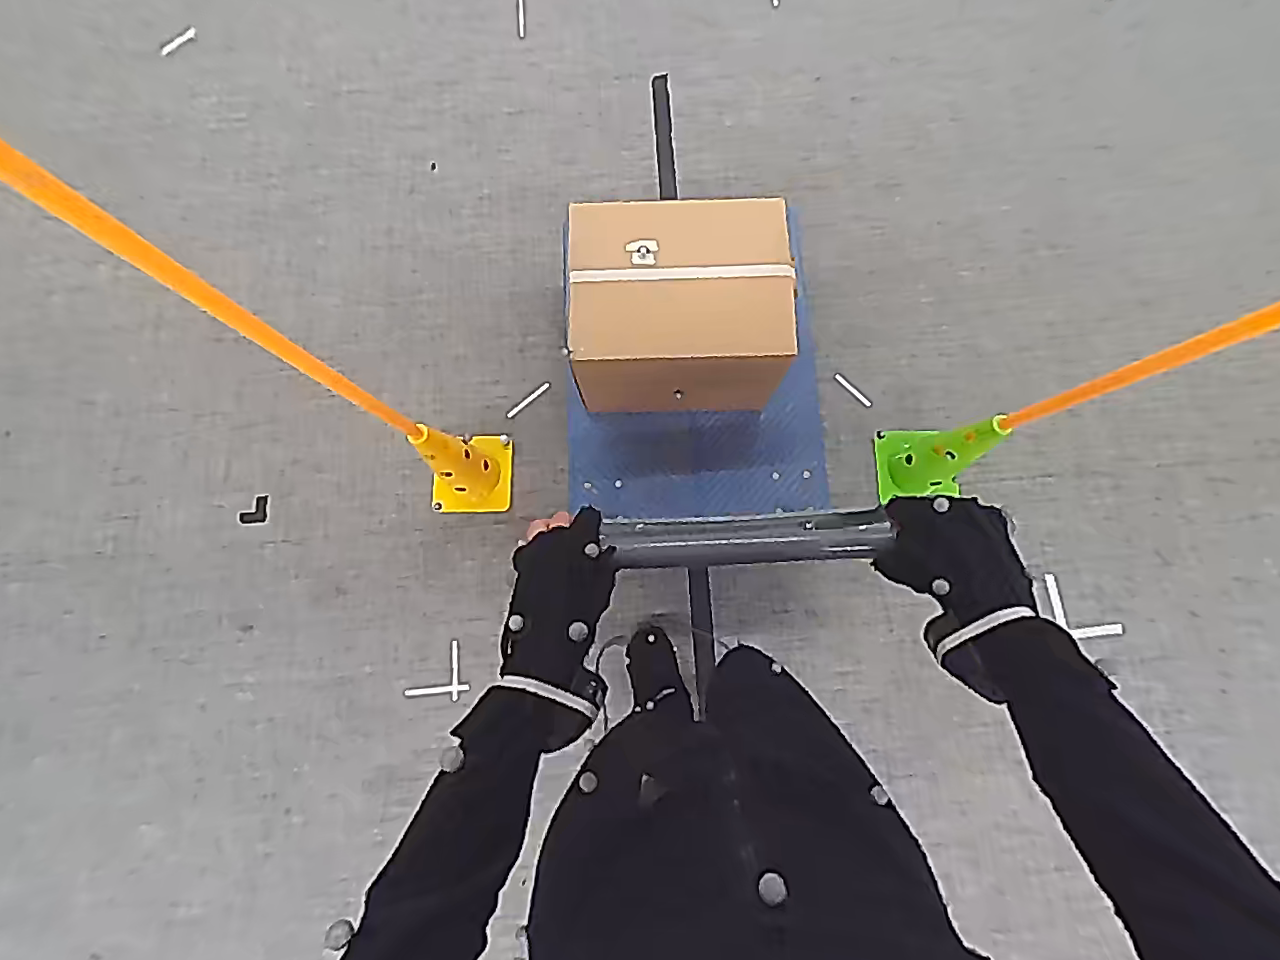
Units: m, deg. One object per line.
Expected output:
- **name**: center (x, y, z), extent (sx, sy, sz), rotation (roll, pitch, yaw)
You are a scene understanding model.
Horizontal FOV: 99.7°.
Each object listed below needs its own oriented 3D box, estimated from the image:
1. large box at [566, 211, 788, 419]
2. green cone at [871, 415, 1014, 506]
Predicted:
- **large box**: center (0.069, -0.322, 1.140), extent (0.408, 0.320, 0.320), rotation (-2, 79, 2)
- **green cone**: center (0.697, -0.066, 1.216), extent (0.202, 0.368, 0.200), rotation (0, 78, 0)
